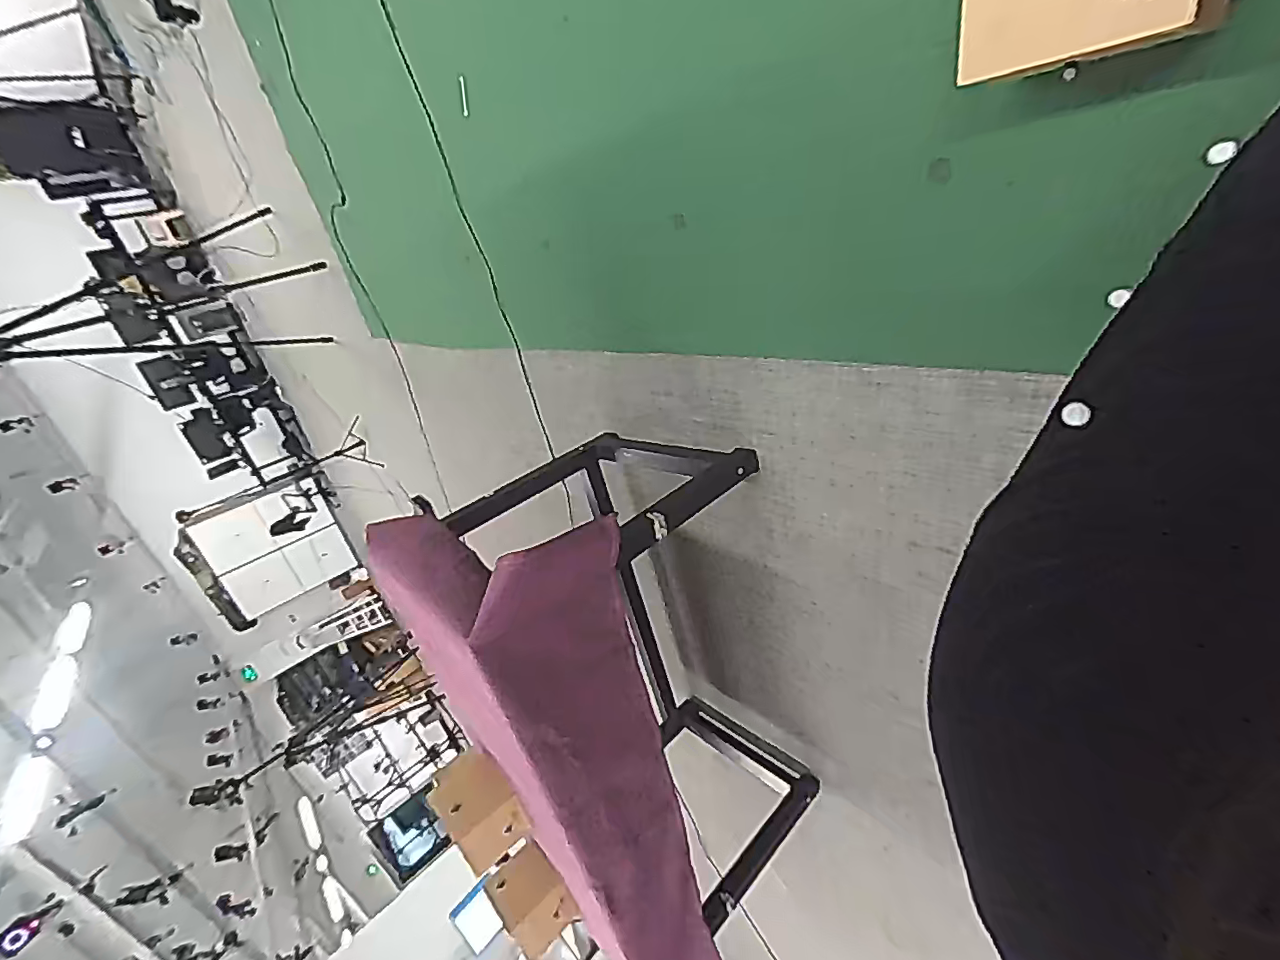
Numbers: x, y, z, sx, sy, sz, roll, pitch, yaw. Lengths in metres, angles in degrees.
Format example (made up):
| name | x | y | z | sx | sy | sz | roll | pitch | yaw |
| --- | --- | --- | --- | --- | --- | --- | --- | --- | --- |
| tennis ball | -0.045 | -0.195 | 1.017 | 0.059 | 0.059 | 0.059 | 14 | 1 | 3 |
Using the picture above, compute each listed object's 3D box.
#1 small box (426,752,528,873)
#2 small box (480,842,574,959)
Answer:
| name | x | y | z | sx | sy | sz | roll | pitch | yaw |
| --- | --- | --- | --- | --- | --- | --- | --- | --- | --- |
| small box | -0.413 | 0.837 | 1.386 | 0.179 | 0.176 | 0.168 | 21 | 132 | 43 |
| small box | -0.314 | 1.167 | 1.516 | 0.179 | 0.176 | 0.168 | 13 | 127 | 48 |
